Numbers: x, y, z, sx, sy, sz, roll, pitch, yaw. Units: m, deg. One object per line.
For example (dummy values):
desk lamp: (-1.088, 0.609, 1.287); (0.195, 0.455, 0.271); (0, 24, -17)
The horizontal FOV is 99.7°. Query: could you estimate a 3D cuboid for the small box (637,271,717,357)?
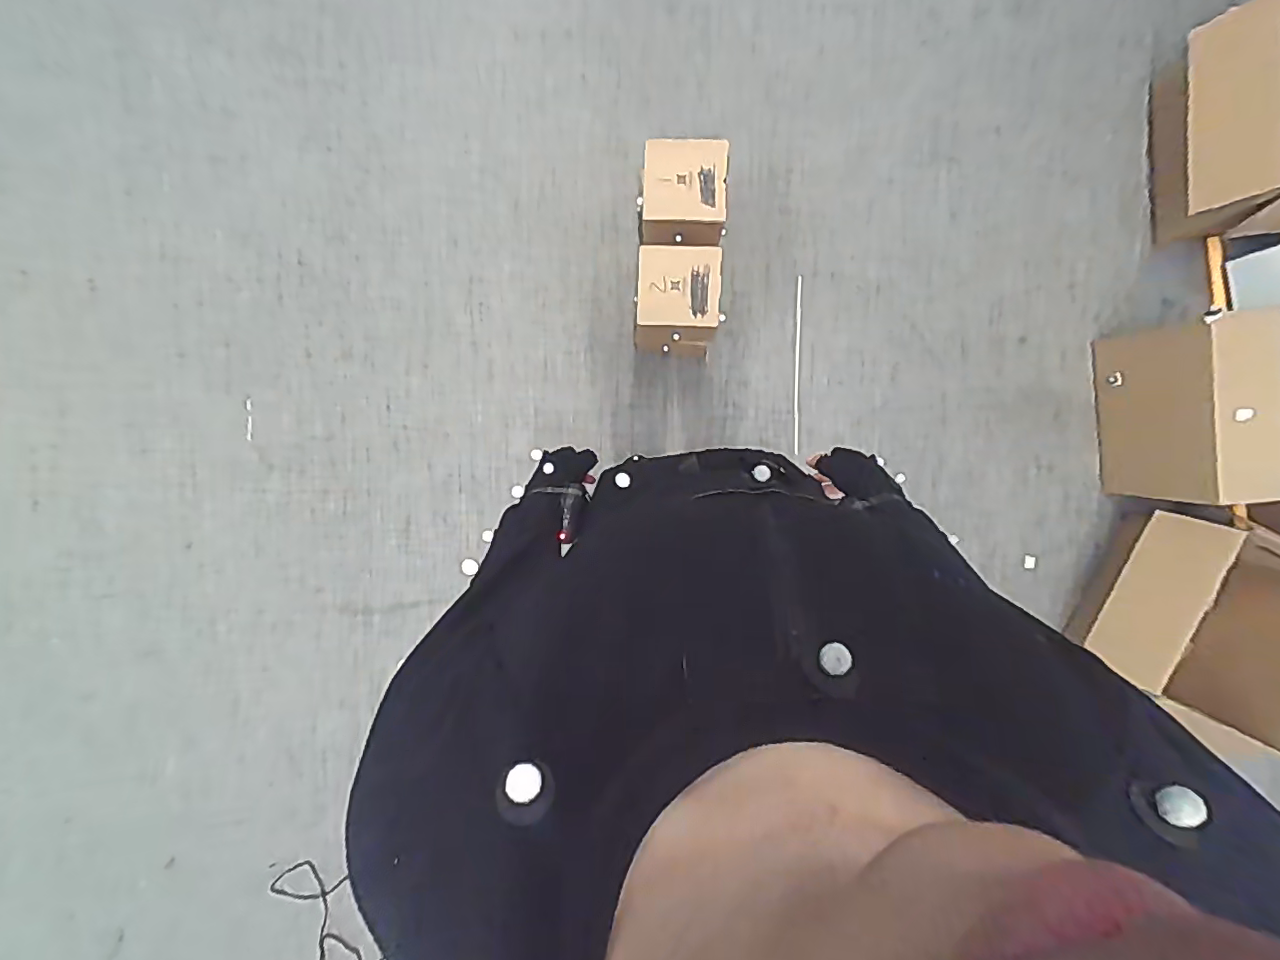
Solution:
small box: (0.091, -0.413, 1.369); (0.179, 0.176, 0.168); (6, 94, 2)
